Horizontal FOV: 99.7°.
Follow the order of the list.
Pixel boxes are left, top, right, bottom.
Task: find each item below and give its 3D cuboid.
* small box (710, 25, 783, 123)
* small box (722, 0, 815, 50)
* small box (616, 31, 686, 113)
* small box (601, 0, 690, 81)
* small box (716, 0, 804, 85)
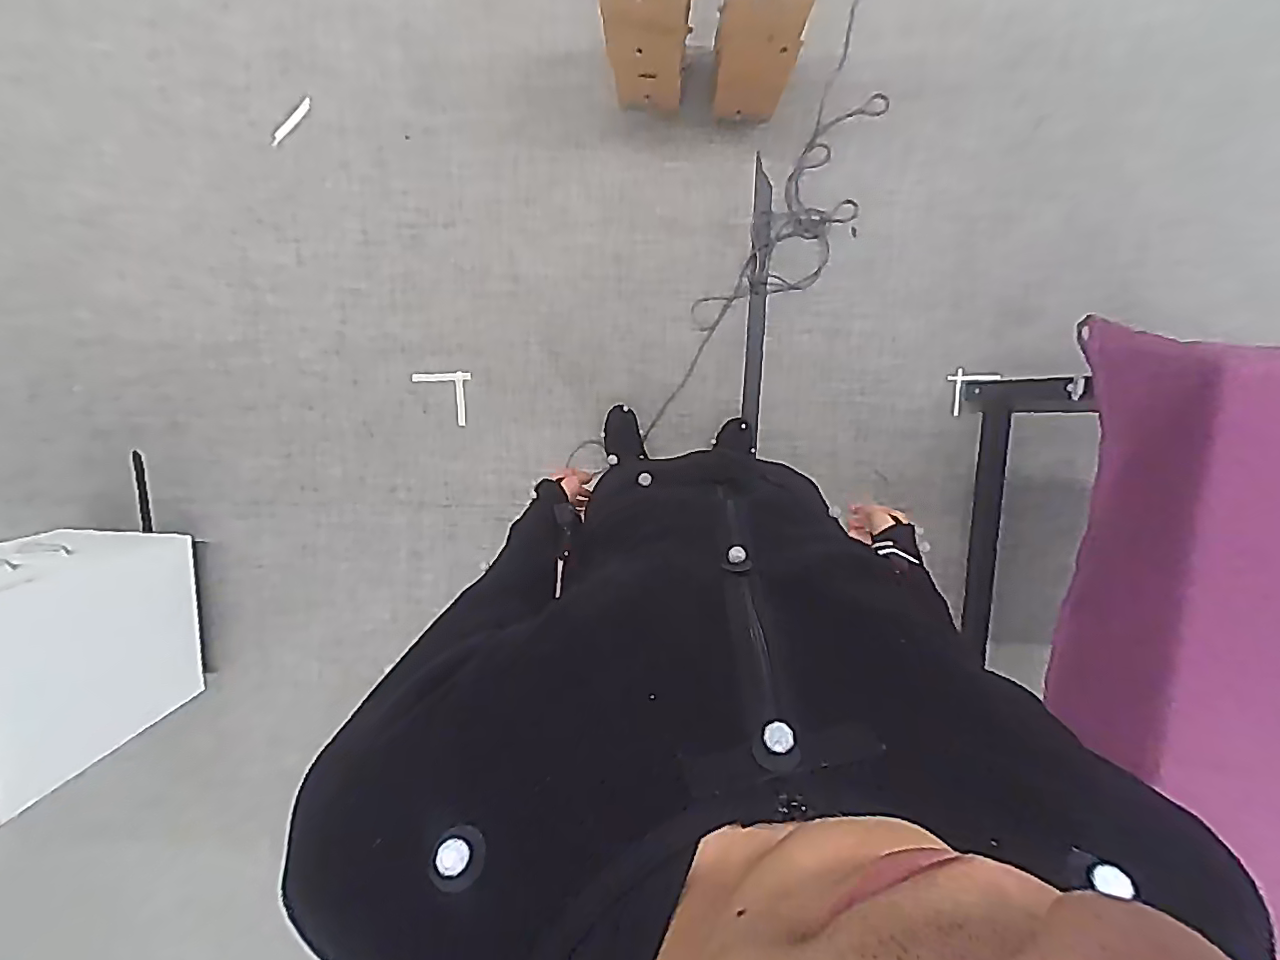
[{"bbox_3d":[0.271,-1.057,1.387,0.168,0.176,0.179,2,99,1],"label":"small box"},{"bbox_3d":[0.265,-1.007,1.064,0.168,0.176,0.179,10,97,-1],"label":"small box"},{"bbox_3d":[0.027,-1.085,1.383,0.168,0.176,0.179,6,99,0],"label":"small box"},{"bbox_3d":[0.018,-1.046,1.223,0.179,0.176,0.168,10,98,0],"label":"small box"},{"bbox_3d":[0.270,-1.033,1.227,0.179,0.176,0.168,3,98,0],"label":"small box"}]
